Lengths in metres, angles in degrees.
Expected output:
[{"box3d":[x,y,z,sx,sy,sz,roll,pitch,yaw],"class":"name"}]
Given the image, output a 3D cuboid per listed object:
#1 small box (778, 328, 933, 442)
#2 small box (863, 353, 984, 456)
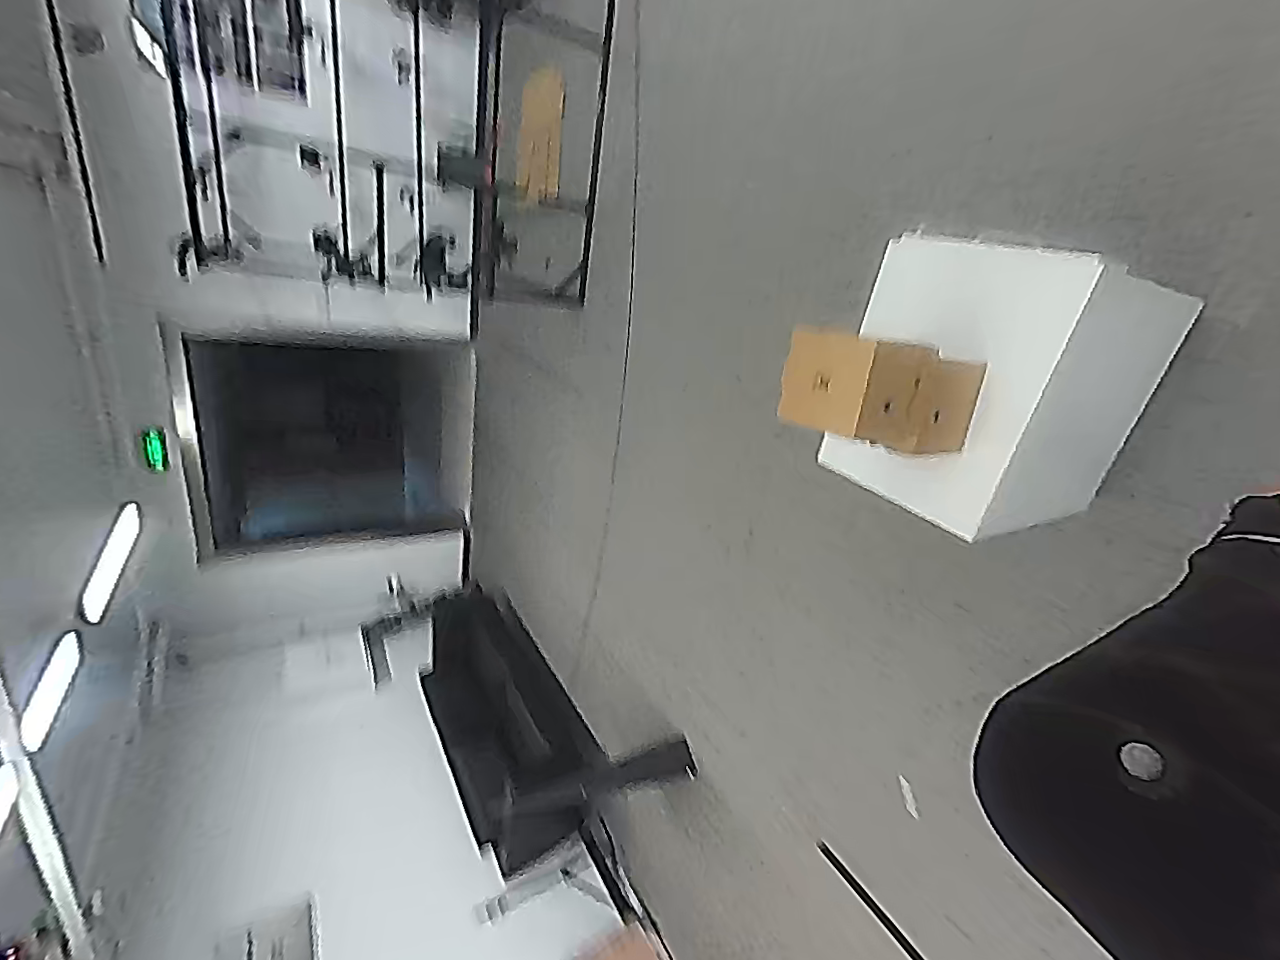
[{"box3d":[0.378,-0.172,0.955,0.179,0.176,0.168,32,121,53],"class":"small box"},{"box3d":[0.520,-0.155,1.036,0.168,0.176,0.179,30,119,53],"class":"small box"}]
